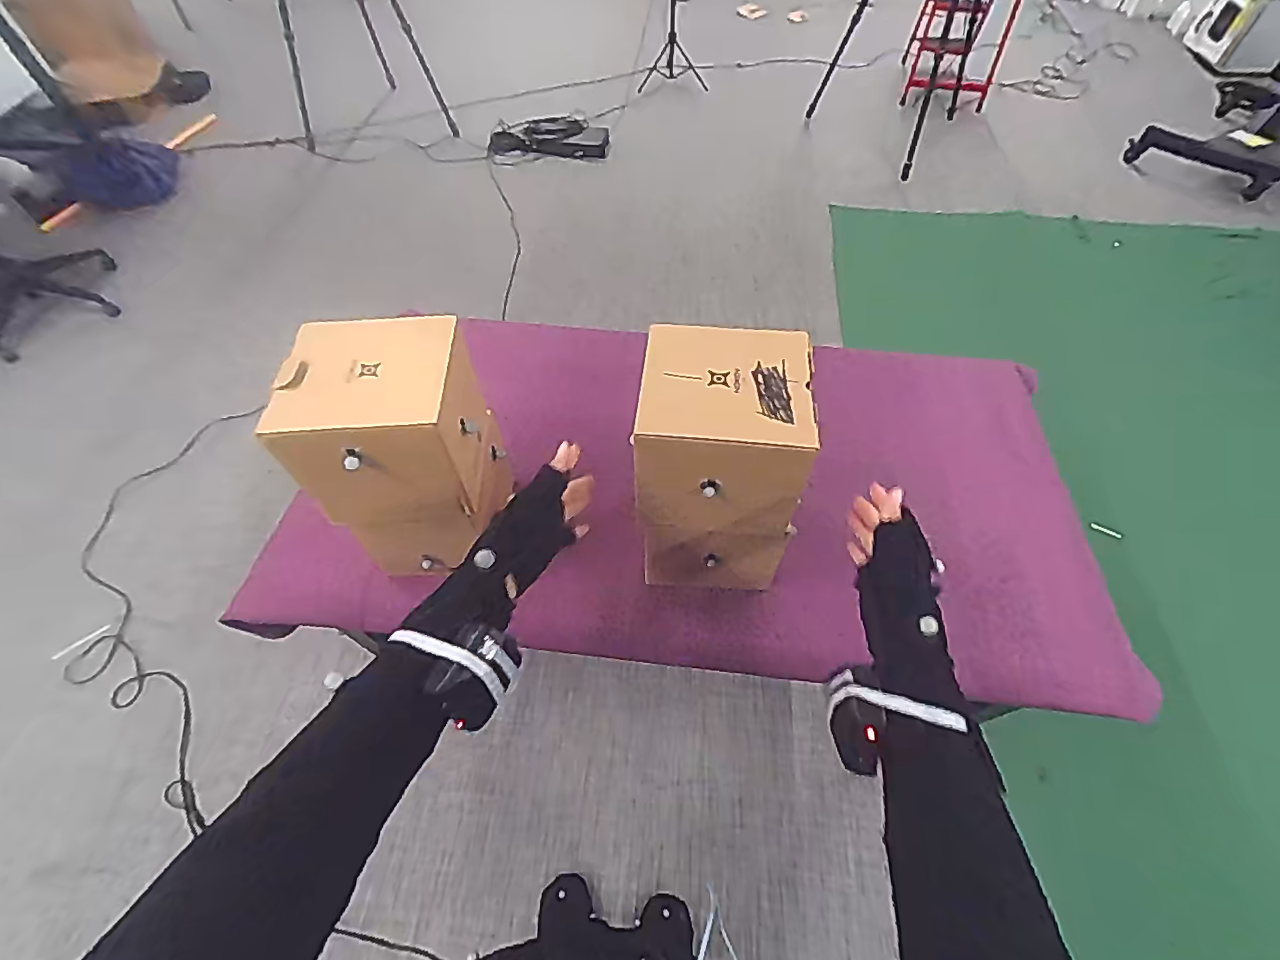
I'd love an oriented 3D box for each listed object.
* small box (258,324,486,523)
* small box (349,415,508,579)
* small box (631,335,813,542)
[{"bbox_3d":[-0.286,-0.062,0.631,0.179,0.176,0.168,-2,54,-3],"label":"small box"},{"bbox_3d":[-0.291,0.023,0.770,0.168,0.176,0.179,1,55,0],"label":"small box"},{"bbox_3d":[0.087,-0.042,0.623,0.179,0.176,0.168,5,54,4],"label":"small box"}]
